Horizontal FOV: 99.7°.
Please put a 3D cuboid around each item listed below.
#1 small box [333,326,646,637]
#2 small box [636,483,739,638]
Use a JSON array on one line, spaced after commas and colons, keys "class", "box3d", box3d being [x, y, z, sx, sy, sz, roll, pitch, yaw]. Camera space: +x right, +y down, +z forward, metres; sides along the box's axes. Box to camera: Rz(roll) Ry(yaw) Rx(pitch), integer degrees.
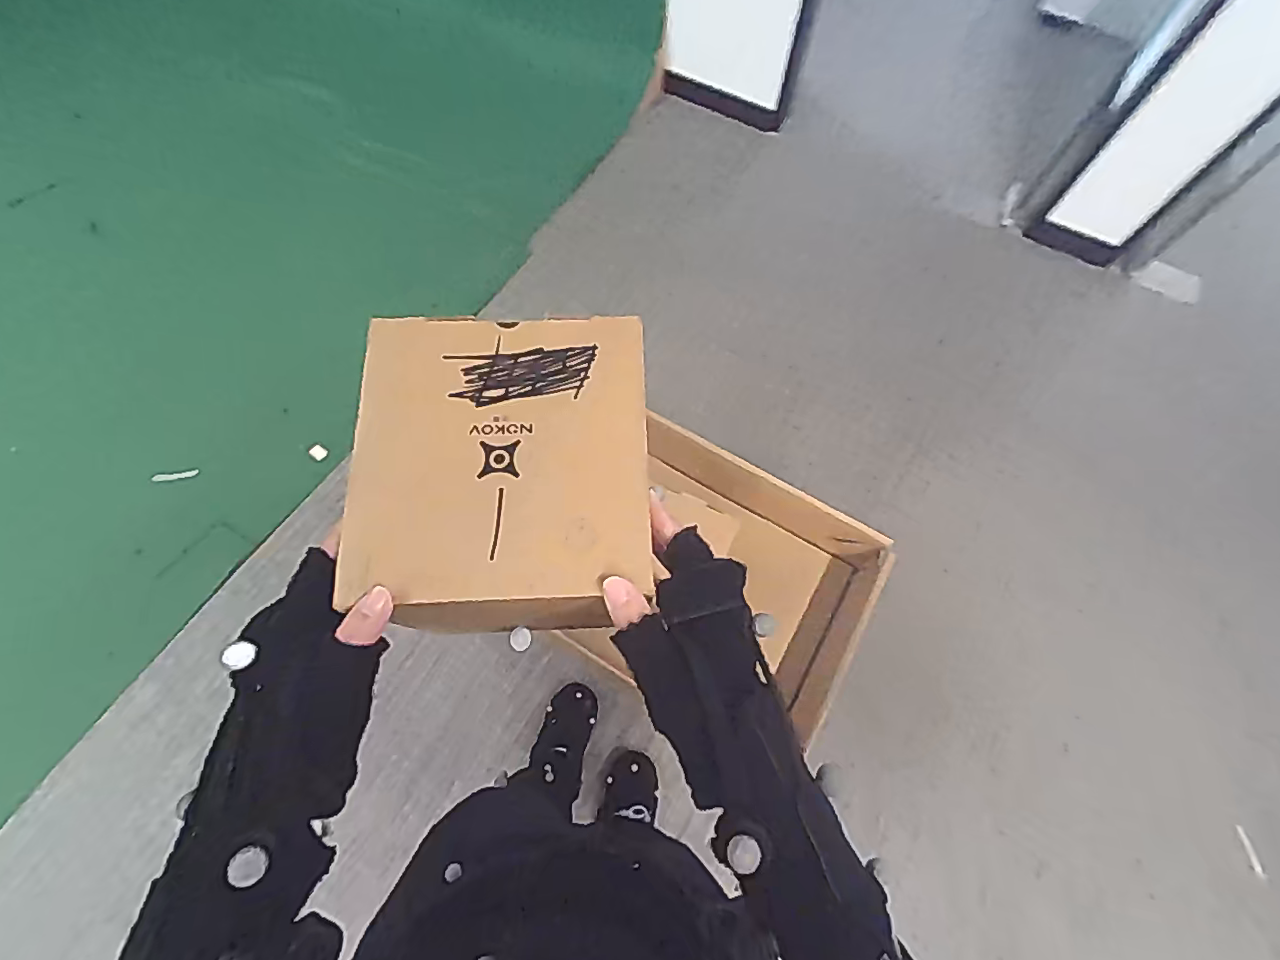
[{"class": "small box", "box3d": [-0.086, 0.012, 0.388, 0.168, 0.176, 0.179, -3, 70, -3]}, {"class": "small box", "box3d": [0.046, 0.138, 0.894, 0.168, 0.176, 0.179, 23, 67, 11]}]
